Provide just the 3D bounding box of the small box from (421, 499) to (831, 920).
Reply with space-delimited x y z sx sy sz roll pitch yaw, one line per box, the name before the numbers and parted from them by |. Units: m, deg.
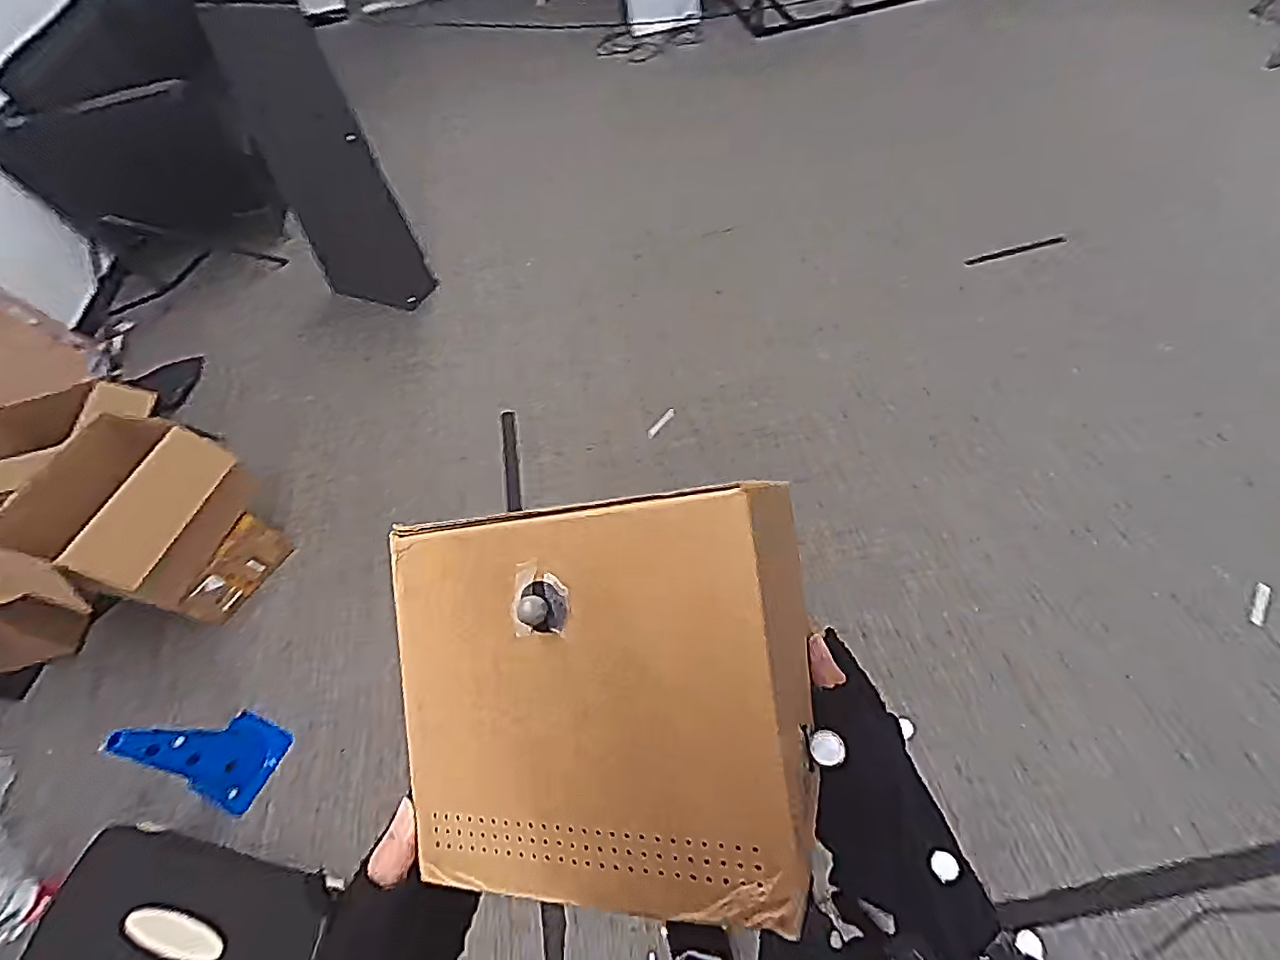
small box | 0.003 0.105 0.315 0.179 0.168 0.176 -8 87 23
